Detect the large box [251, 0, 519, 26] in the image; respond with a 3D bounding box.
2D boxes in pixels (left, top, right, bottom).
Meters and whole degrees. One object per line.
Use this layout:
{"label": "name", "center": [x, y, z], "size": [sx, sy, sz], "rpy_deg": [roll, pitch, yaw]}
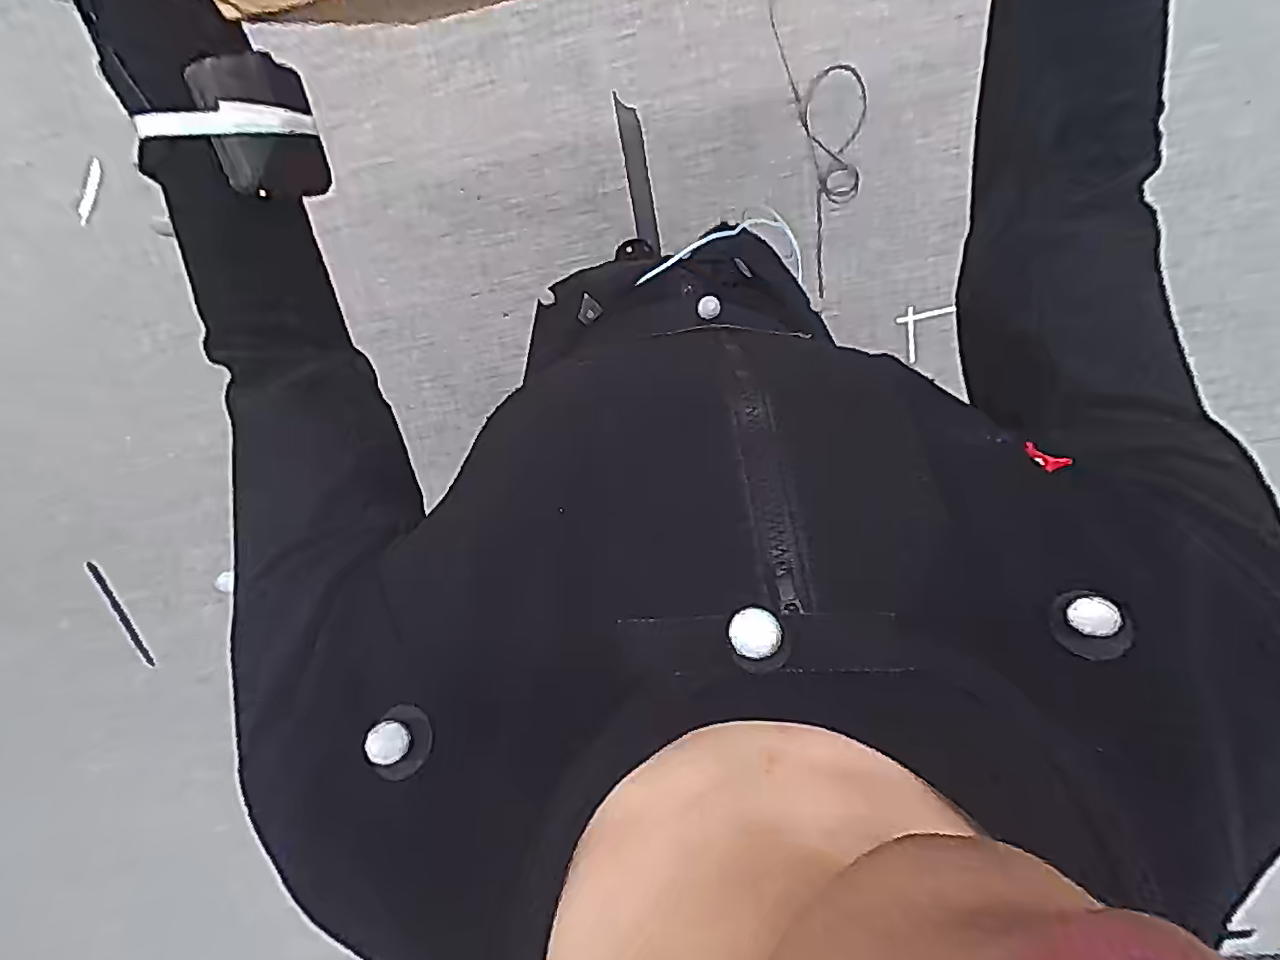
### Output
{"label": "large box", "center": [-0.053, -0.495, 0.296], "size": [0.408, 0.320, 0.320], "rpy_deg": [-10, 130, 5]}
